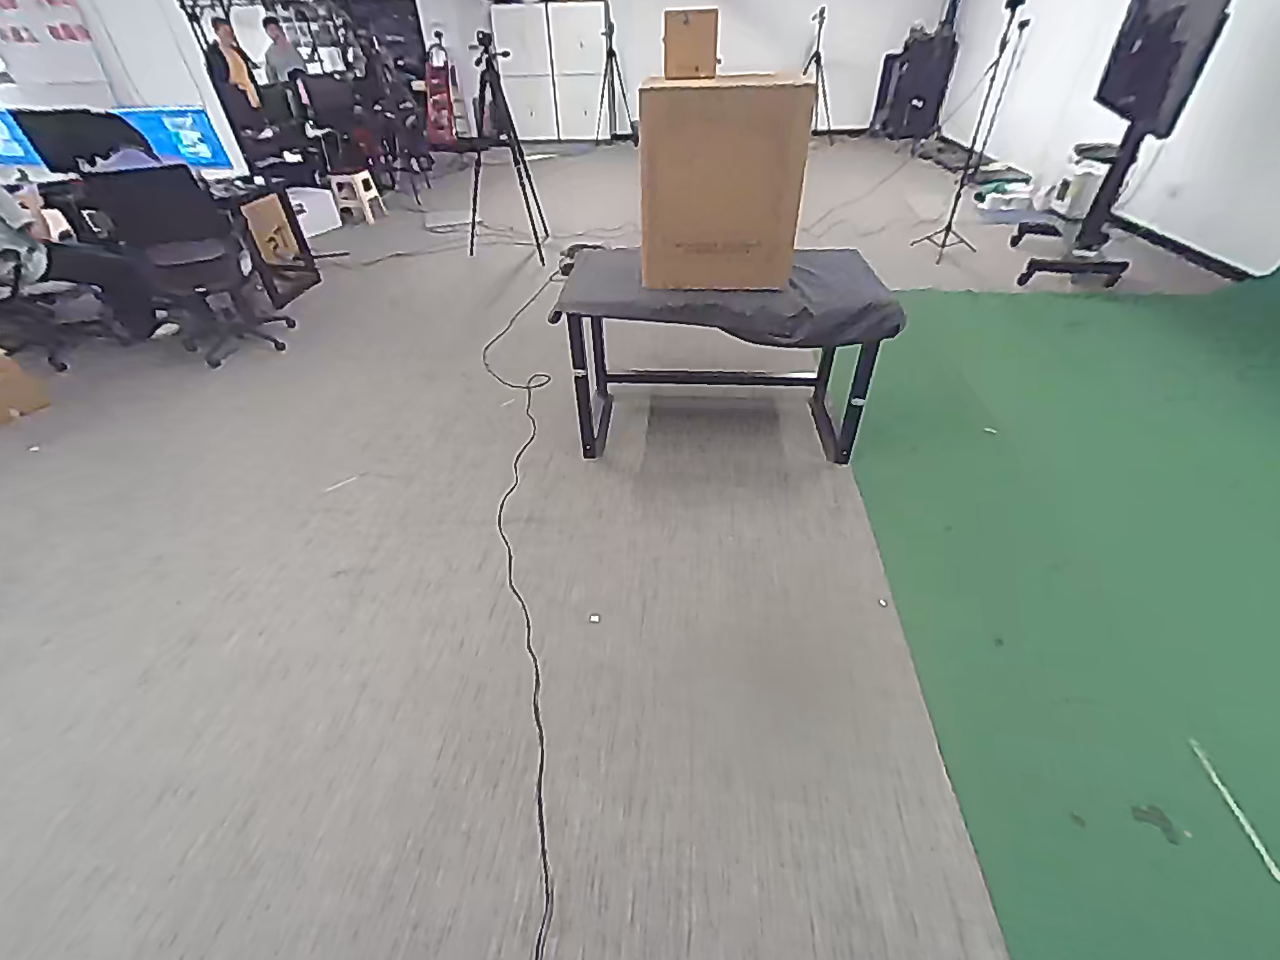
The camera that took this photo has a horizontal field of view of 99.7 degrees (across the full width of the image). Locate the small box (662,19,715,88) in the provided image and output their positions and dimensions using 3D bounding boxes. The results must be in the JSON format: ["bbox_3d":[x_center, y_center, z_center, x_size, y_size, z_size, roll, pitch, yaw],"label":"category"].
[{"bbox_3d":[0.157,-1.378,1.753,0.168,0.176,0.179,1,38,6],"label":"small box"}]
